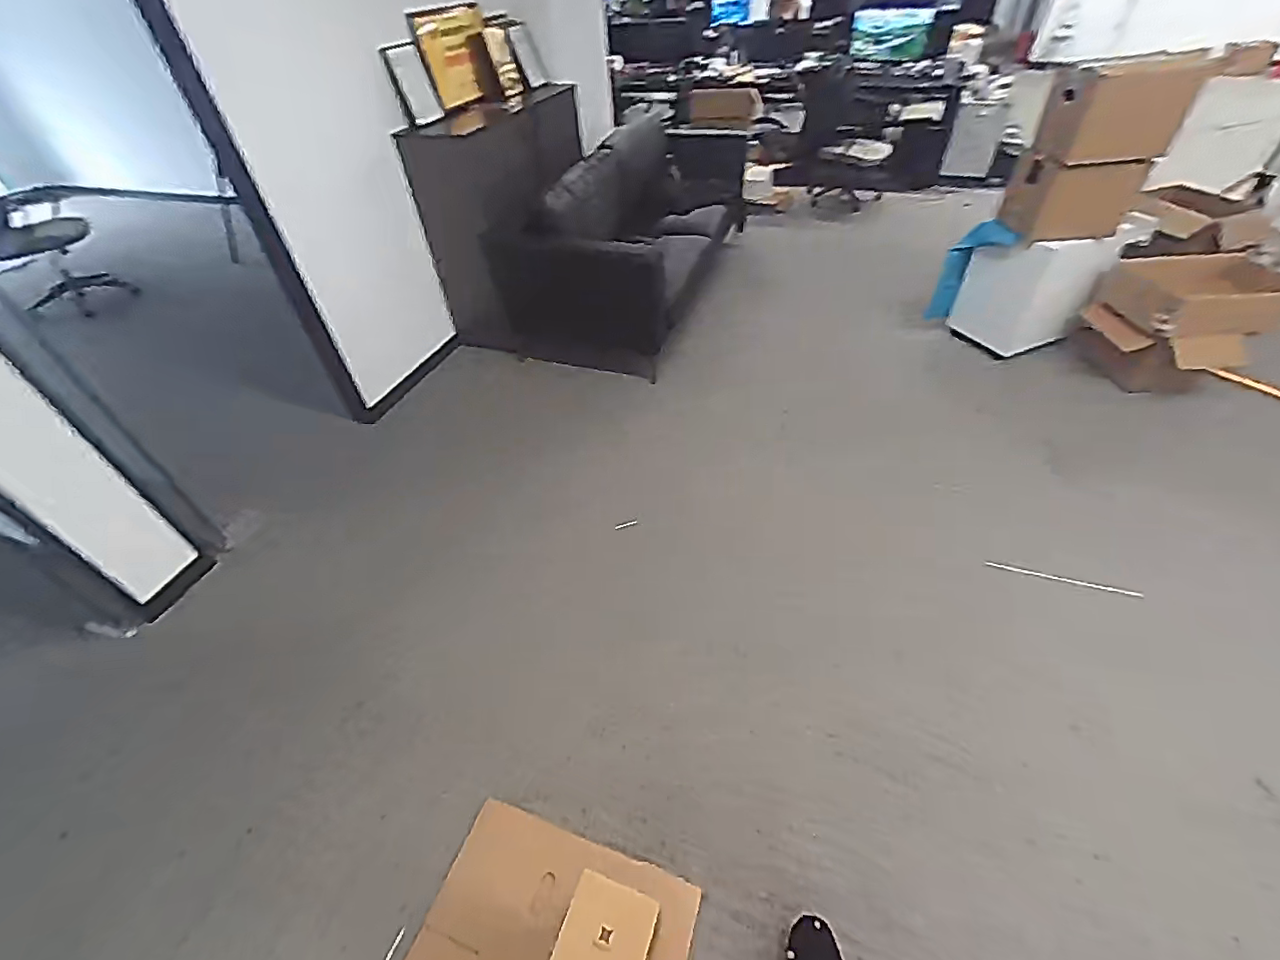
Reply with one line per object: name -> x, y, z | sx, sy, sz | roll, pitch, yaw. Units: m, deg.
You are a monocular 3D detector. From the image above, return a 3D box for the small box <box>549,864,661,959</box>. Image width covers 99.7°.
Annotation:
small box -> -0.064, 0.901, 1.062 | 0.168, 0.176, 0.179 | 13, 48, 15
